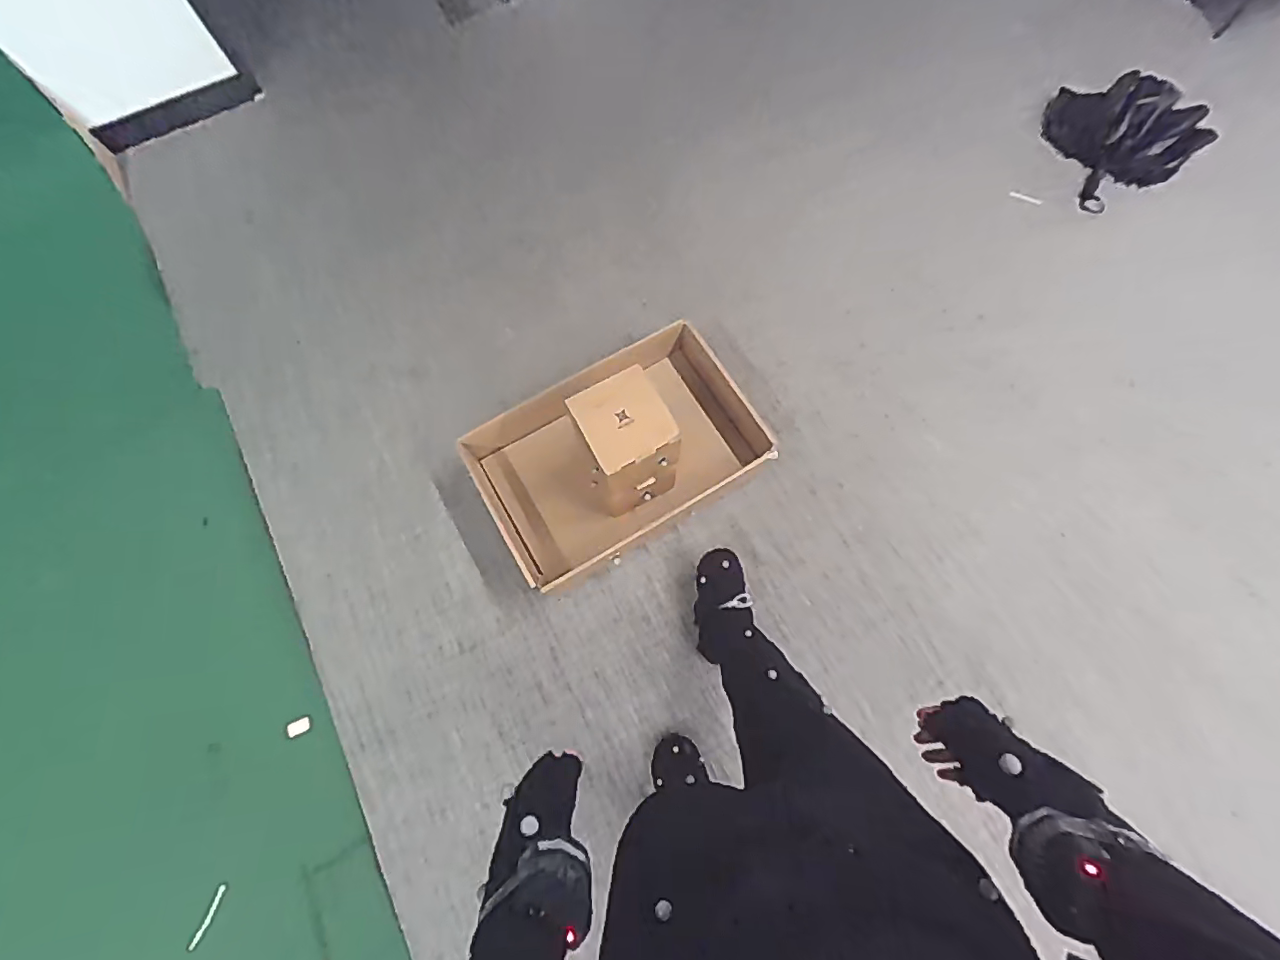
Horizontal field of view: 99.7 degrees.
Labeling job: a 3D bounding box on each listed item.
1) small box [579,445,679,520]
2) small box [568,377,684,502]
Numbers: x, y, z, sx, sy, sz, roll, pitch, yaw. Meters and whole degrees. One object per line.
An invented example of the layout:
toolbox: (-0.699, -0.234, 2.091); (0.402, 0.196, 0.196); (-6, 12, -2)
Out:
small box: (-0.022, -0.021, 1.251); (0.168, 0.176, 0.179); (-27, 75, -7)
small box: (-0.025, -0.071, 1.096); (0.168, 0.176, 0.179); (-28, 74, -8)
